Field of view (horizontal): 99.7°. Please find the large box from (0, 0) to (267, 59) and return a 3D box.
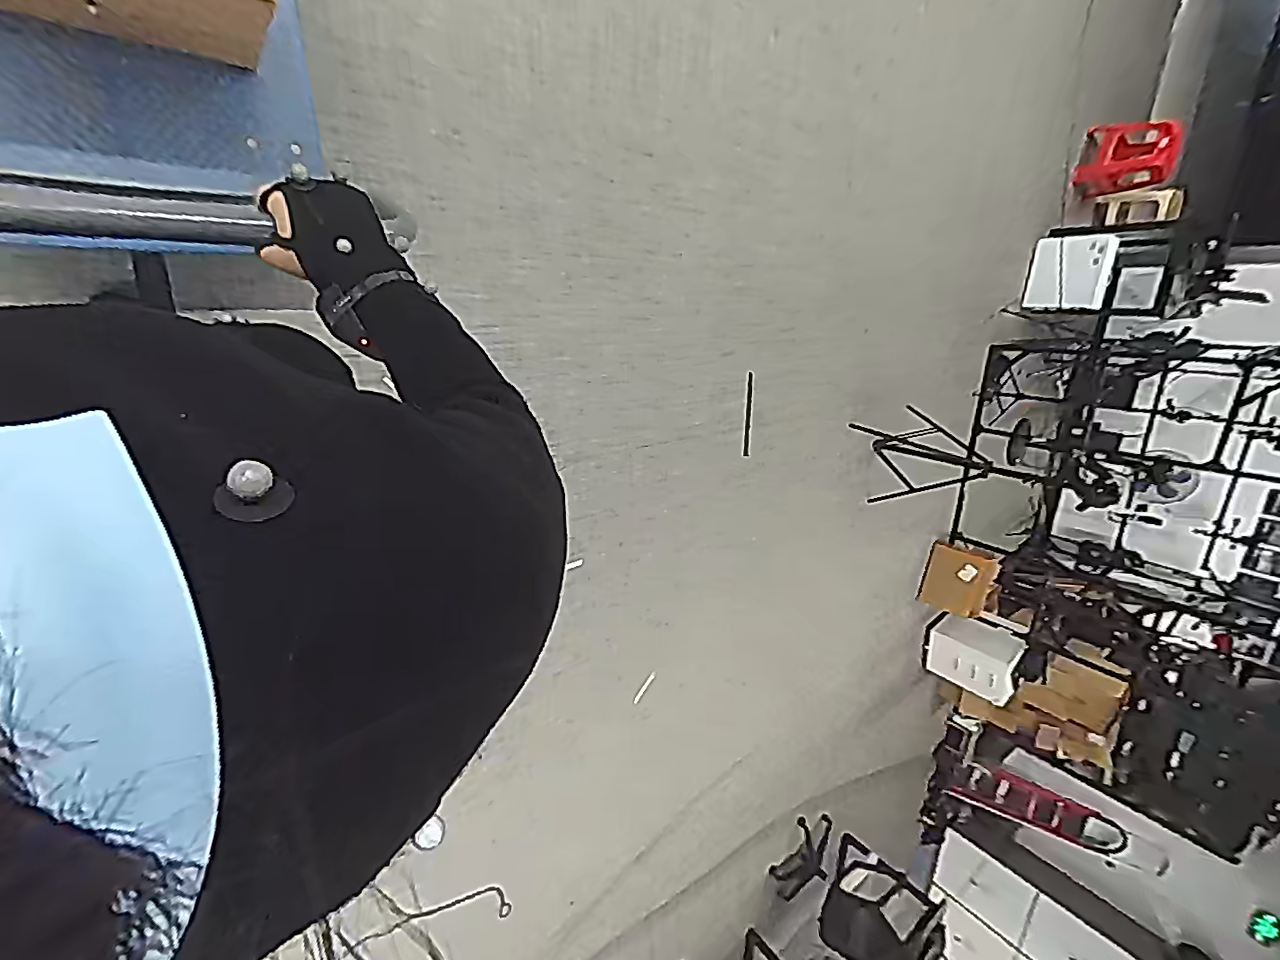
[{"bbox_3d":[-0.757,-0.810,0.693,0.408,0.320,0.320,-13,113,-36],"label":"large box"}]
